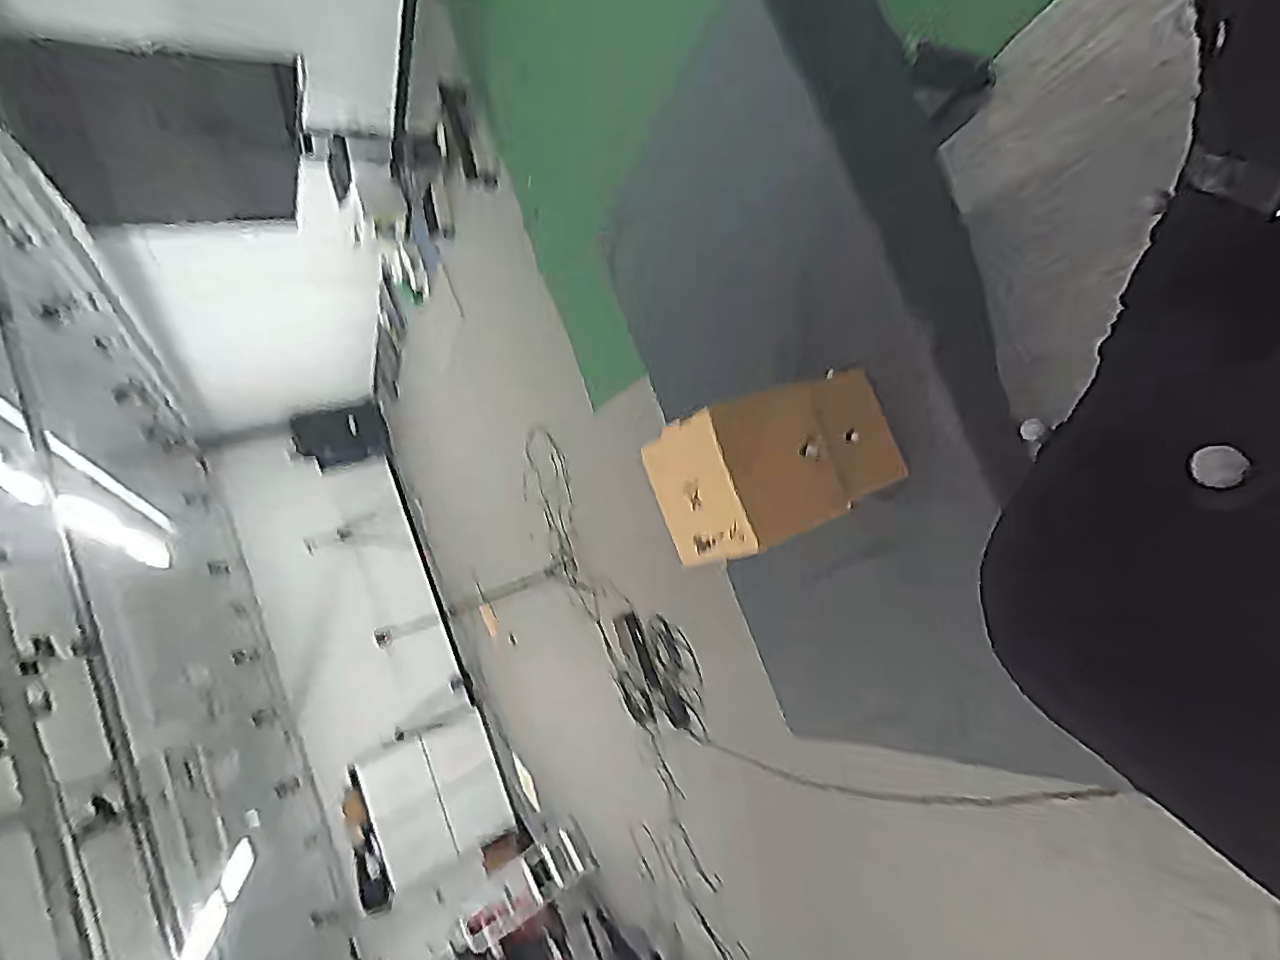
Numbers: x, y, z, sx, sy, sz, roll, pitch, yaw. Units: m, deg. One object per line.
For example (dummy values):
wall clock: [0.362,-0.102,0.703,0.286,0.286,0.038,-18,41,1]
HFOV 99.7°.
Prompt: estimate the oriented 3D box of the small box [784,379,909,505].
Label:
small box: [0.268,-0.042,0.829,0.168,0.176,0.179,-33,78,59]

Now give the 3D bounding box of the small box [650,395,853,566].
small box: [0.147,-0.003,0.730,0.168,0.176,0.179,-33,77,57]
